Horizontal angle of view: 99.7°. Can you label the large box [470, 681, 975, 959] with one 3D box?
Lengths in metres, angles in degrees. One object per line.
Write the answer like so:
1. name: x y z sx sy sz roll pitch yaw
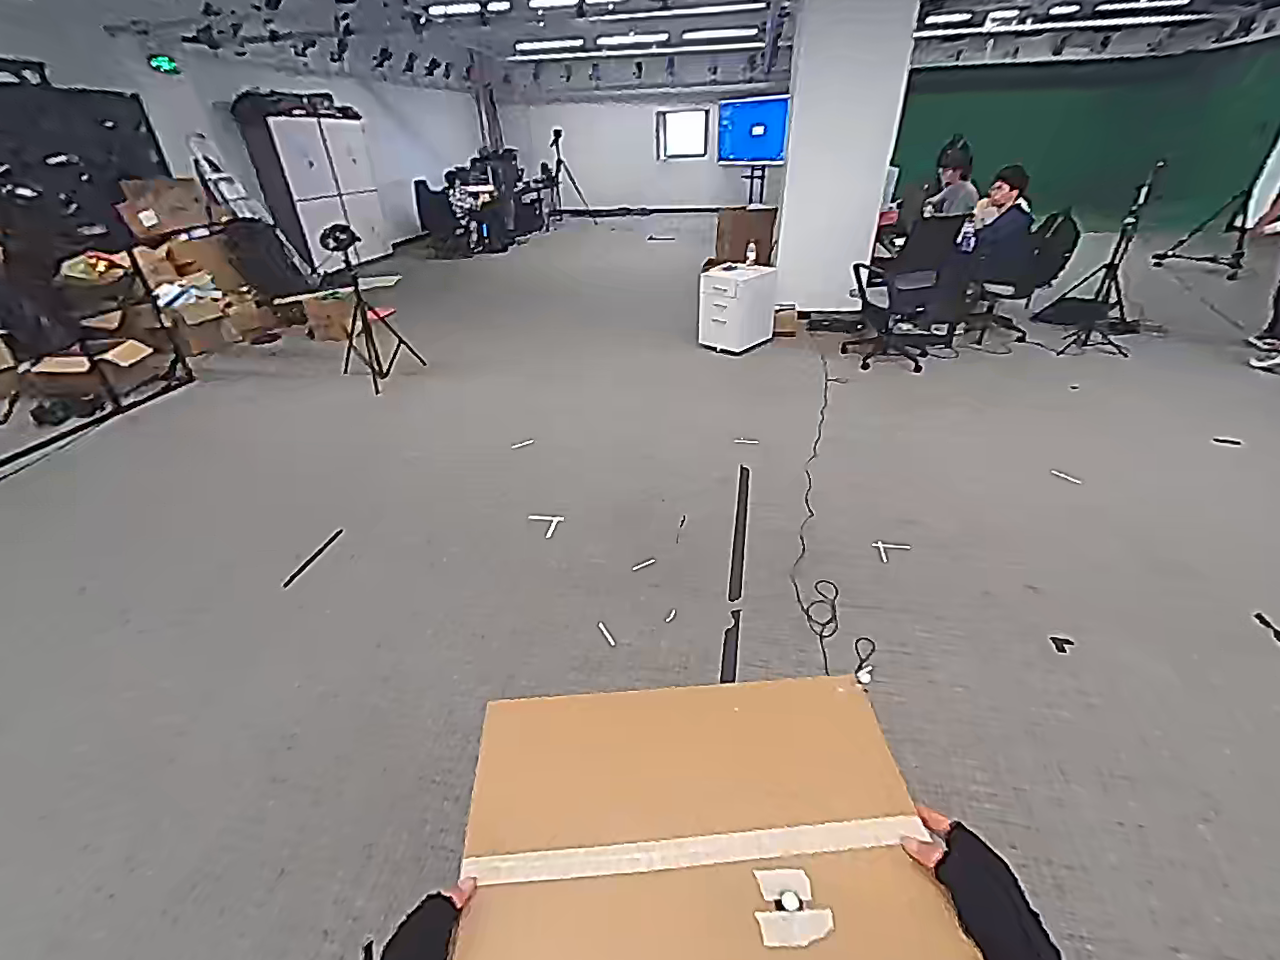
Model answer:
1. large box: 0.059 0.447 0.572 0.408 0.320 0.320 -2 38 -2
